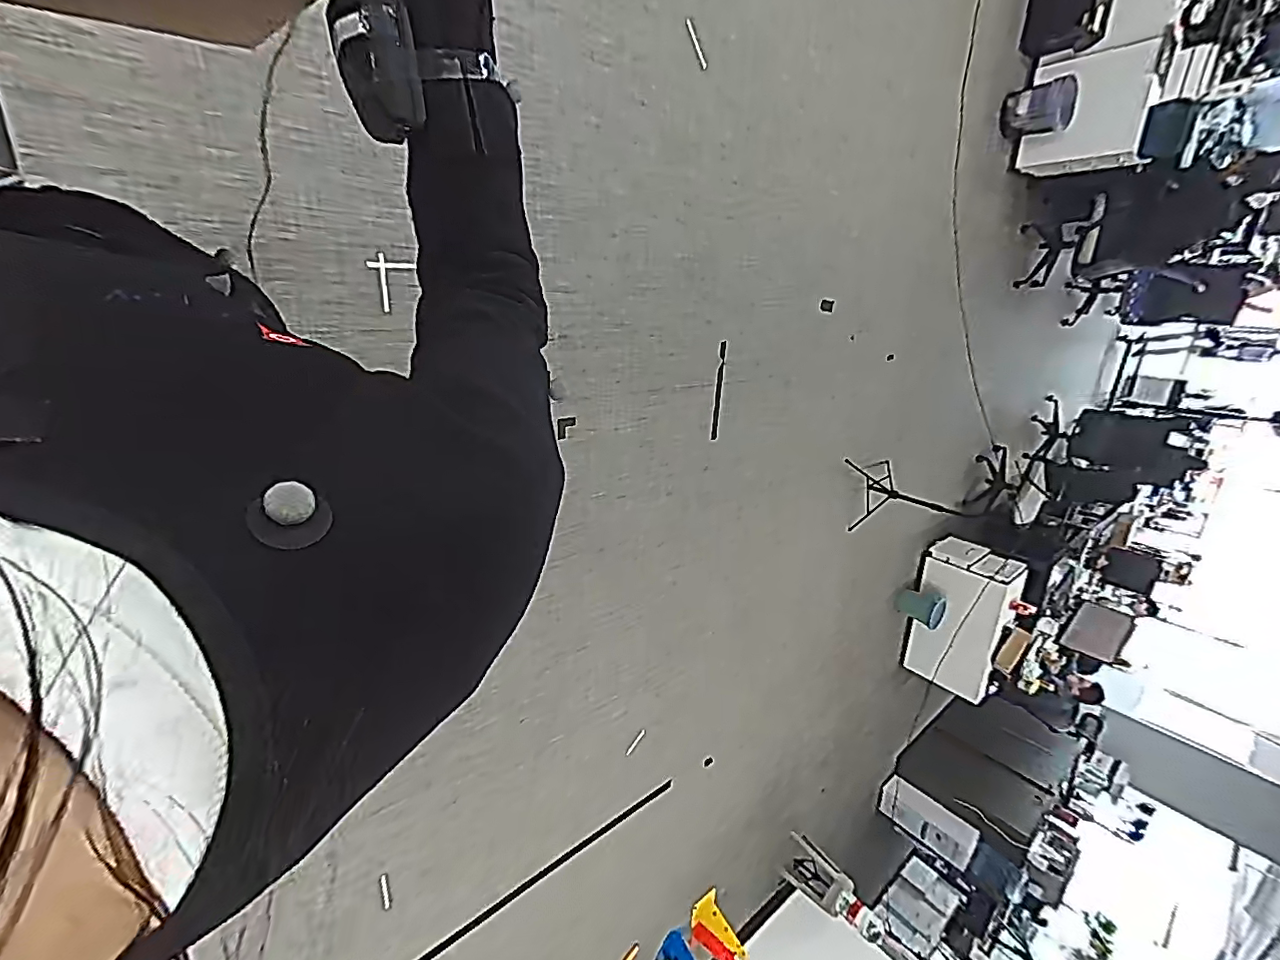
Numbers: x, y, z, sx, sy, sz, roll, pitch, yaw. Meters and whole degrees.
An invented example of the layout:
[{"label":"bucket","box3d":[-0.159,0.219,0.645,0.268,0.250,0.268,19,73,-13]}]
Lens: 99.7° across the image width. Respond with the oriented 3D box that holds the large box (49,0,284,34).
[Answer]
[{"label":"large box","box3d":[-0.397,-0.417,0.199,0.408,0.320,0.320,-19,127,-36]}]
